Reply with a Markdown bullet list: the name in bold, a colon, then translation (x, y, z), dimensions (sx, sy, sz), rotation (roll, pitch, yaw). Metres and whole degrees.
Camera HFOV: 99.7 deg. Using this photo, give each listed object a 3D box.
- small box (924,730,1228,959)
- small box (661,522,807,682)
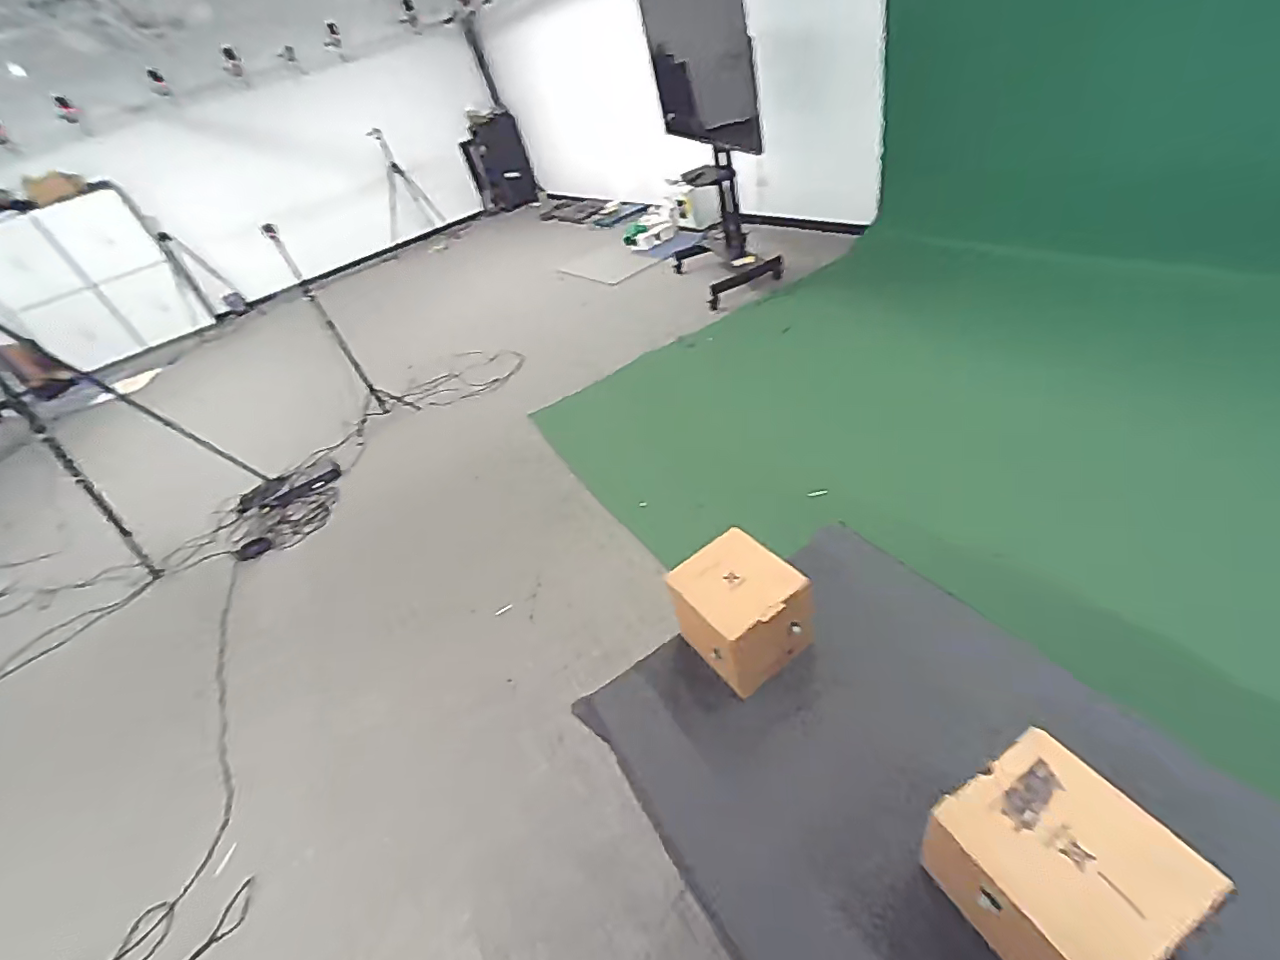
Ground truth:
- **small box**: translation (0.428, 0.414, 0.570), dimensions (0.168, 0.176, 0.179), rotation (-27, 38, -9)
- **small box**: translation (0.163, 0.209, 0.910), dimensions (0.168, 0.176, 0.179), rotation (-31, 39, -19)
